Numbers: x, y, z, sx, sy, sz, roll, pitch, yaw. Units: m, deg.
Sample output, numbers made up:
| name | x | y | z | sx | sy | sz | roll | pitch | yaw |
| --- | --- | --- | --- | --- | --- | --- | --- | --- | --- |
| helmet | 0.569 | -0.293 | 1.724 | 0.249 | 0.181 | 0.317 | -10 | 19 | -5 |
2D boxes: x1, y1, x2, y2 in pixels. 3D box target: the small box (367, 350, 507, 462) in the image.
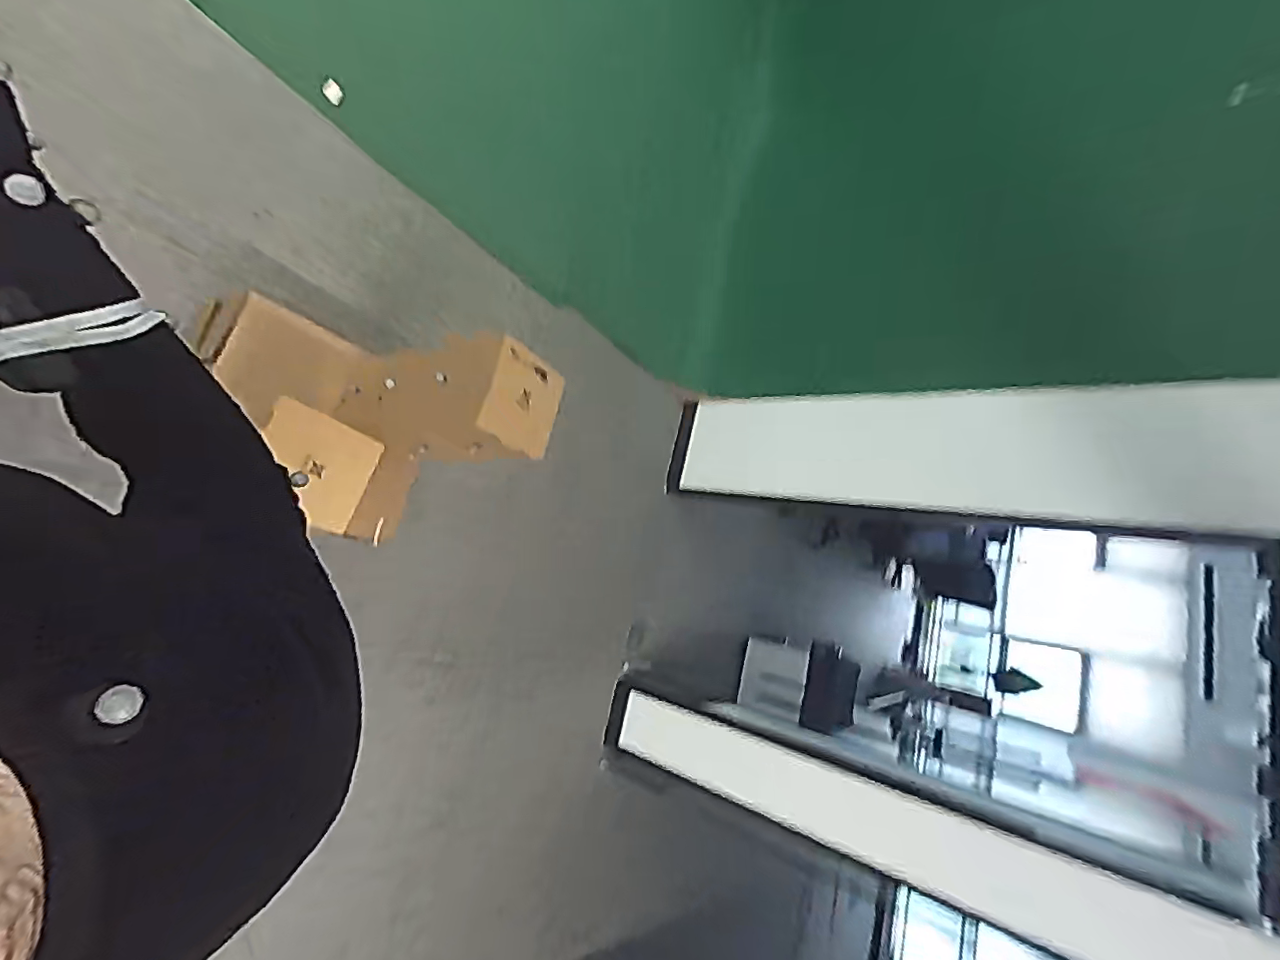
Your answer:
| name | x | y | z | sx | sy | sz | roll | pitch | yaw |
| --- | --- | --- | --- | --- | --- | --- | --- | --- | --- |
| small box | -0.413 | -0.149 | 1.106 | 0.179 | 0.176 | 0.168 | 36 | 65 | -52 |

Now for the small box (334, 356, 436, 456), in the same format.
| name | x | y | z | sx | sy | sz | roll | pitch | yaw |
| --- | --- | --- | --- | --- | --- | --- | --- | --- | --- |
| small box | -0.539 | -0.163 | 1.212 | 0.179 | 0.176 | 0.168 | 33 | 67 | -53 |

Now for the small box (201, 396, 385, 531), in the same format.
| name | x | y | z | sx | sy | sz | roll | pitch | yaw |
| --- | --- | --- | --- | --- | --- | --- | --- | --- | --- |
| small box | -0.573 | -0.030 | 0.898 | 0.179 | 0.176 | 0.168 | 36 | 67 | -49 |
